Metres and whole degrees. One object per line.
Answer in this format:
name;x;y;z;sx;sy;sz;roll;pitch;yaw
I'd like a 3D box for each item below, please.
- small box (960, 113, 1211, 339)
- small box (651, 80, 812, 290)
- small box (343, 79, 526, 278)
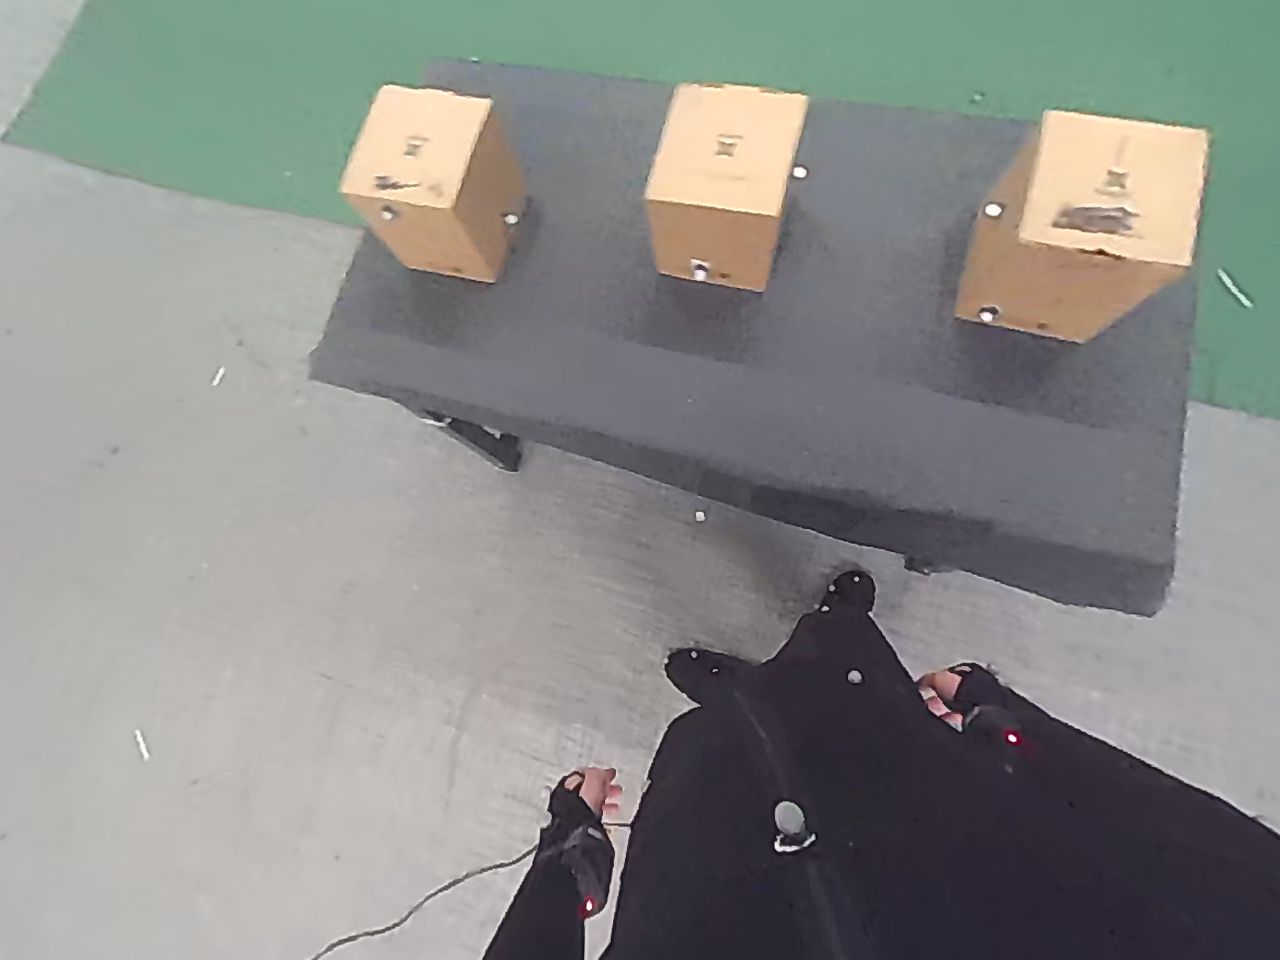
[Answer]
small box;0.526;-0.299;0.665;0.168;0.176;0.179;17;80;10
small box;0.121;-0.391;0.736;0.168;0.176;0.179;13;81;11
small box;-0.282;-0.430;0.789;0.168;0.176;0.179;14;79;10
